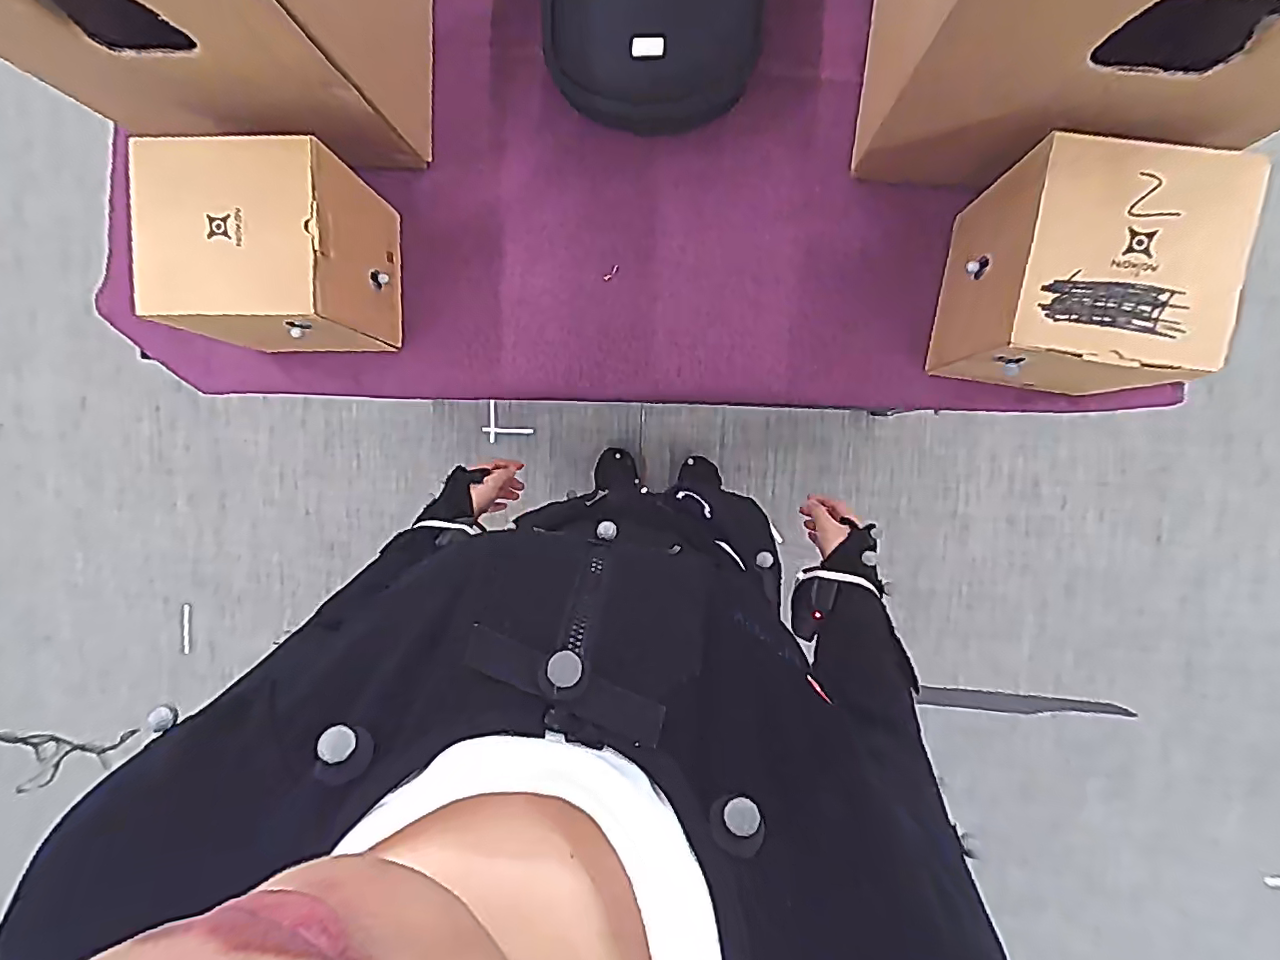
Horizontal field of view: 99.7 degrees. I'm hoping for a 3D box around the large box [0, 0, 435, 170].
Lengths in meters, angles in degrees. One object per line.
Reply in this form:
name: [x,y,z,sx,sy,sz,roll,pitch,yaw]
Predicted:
large box: [-0.404,-0.567,0.503,0.320,0.320,0.408,2,96,4]
